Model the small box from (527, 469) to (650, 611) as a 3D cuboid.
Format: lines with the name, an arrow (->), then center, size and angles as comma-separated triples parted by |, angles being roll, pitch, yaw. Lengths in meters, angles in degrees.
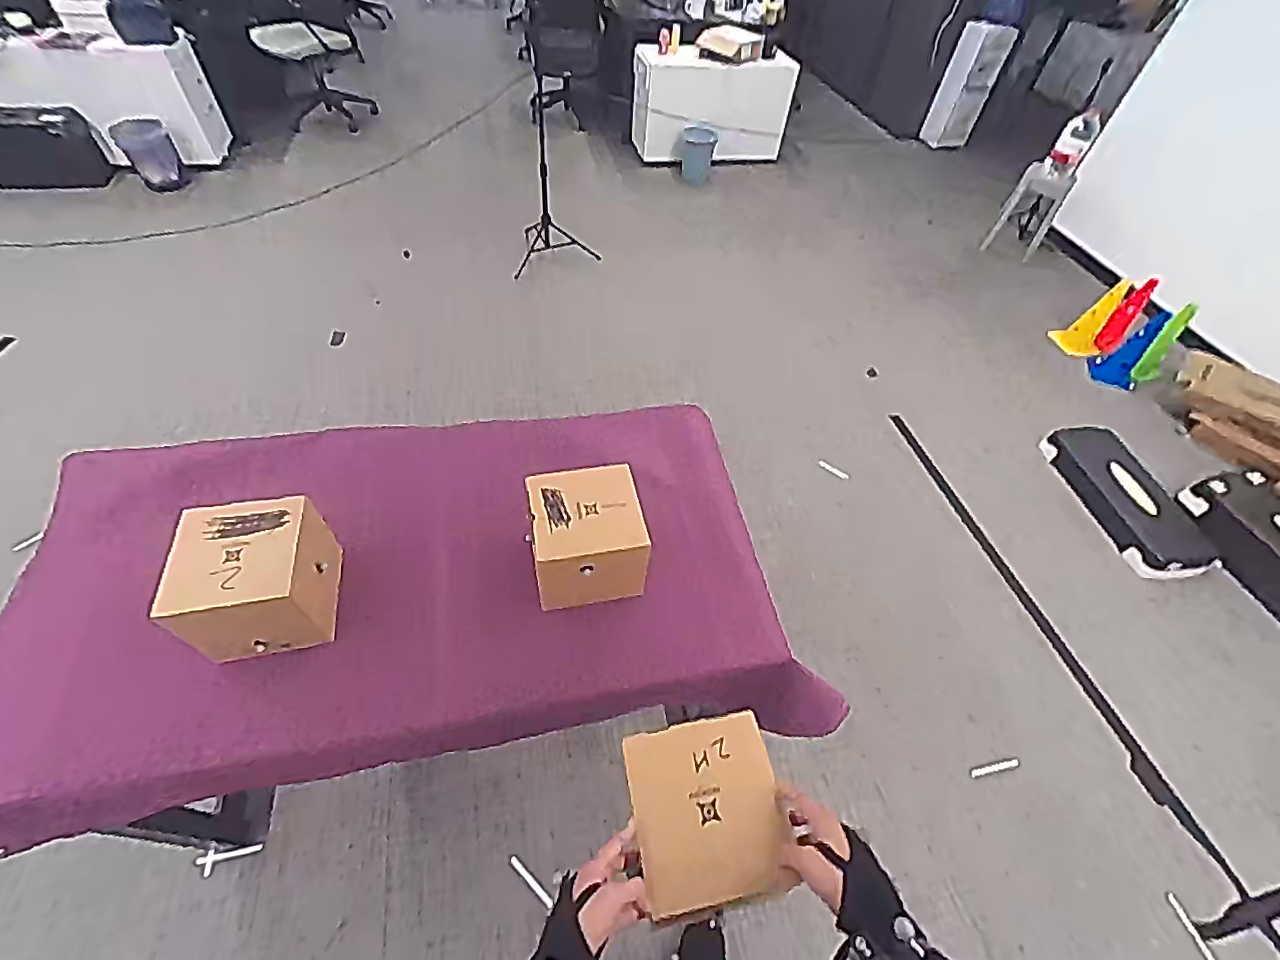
small box -> -0.089, 0.105, 0.913 | 0.179, 0.176, 0.168 | -7, 52, -11

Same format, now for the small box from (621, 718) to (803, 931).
small box -> 0.075, 0.416, 0.650 | 0.168, 0.176, 0.179 | -8, 47, -7
